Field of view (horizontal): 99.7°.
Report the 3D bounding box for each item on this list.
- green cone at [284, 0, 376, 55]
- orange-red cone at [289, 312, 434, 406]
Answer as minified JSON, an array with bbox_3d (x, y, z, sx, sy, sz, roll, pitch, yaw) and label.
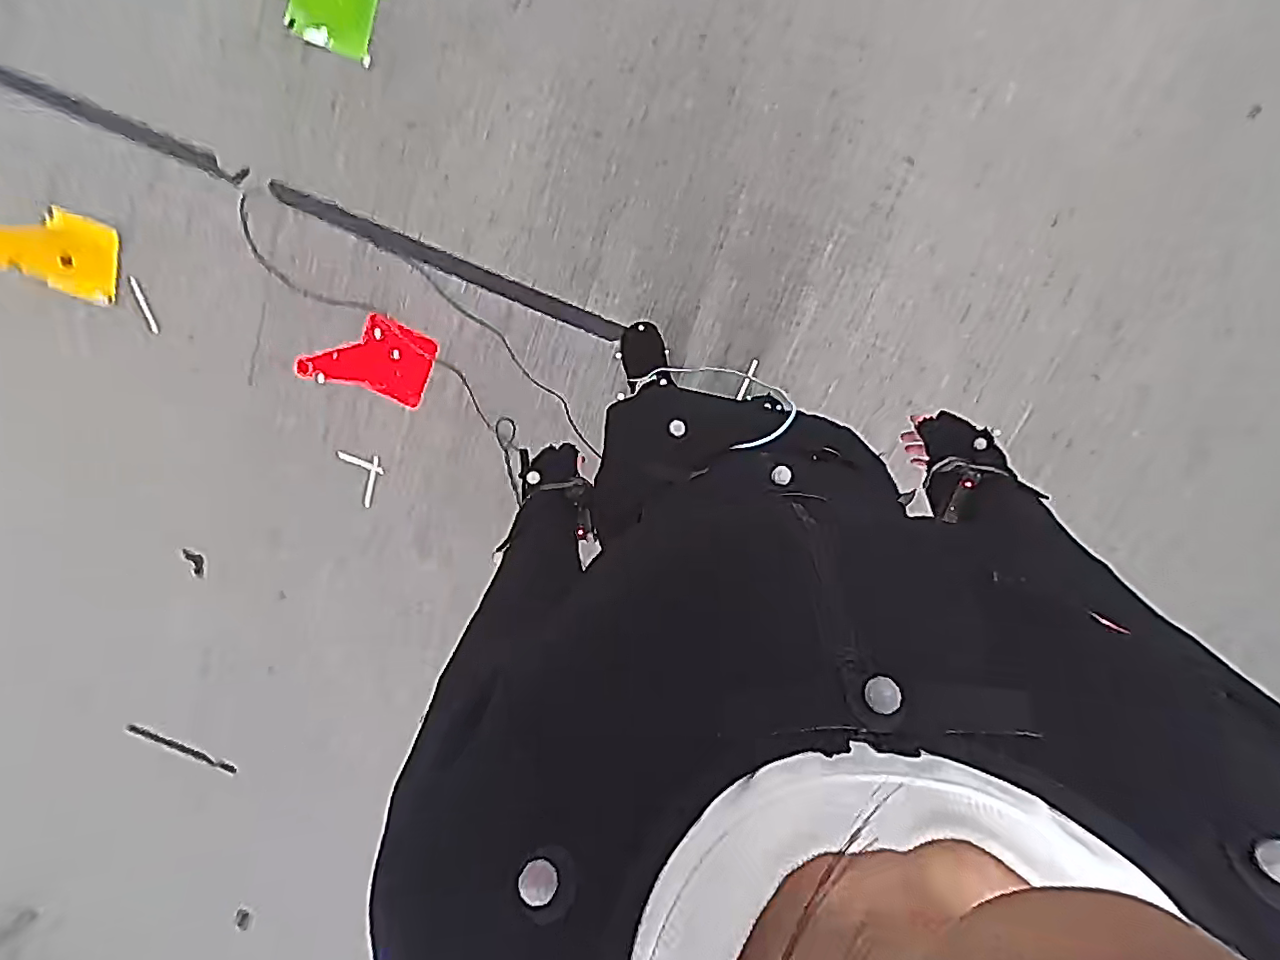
[{"bbox_3d":[-0.712,-1.061,1.061,0.200,0.368,0.202,23,104,-1],"label":"green cone"},{"bbox_3d":[-0.677,-0.274,1.267,0.198,0.360,0.199,27,106,-1],"label":"orange-red cone"}]
